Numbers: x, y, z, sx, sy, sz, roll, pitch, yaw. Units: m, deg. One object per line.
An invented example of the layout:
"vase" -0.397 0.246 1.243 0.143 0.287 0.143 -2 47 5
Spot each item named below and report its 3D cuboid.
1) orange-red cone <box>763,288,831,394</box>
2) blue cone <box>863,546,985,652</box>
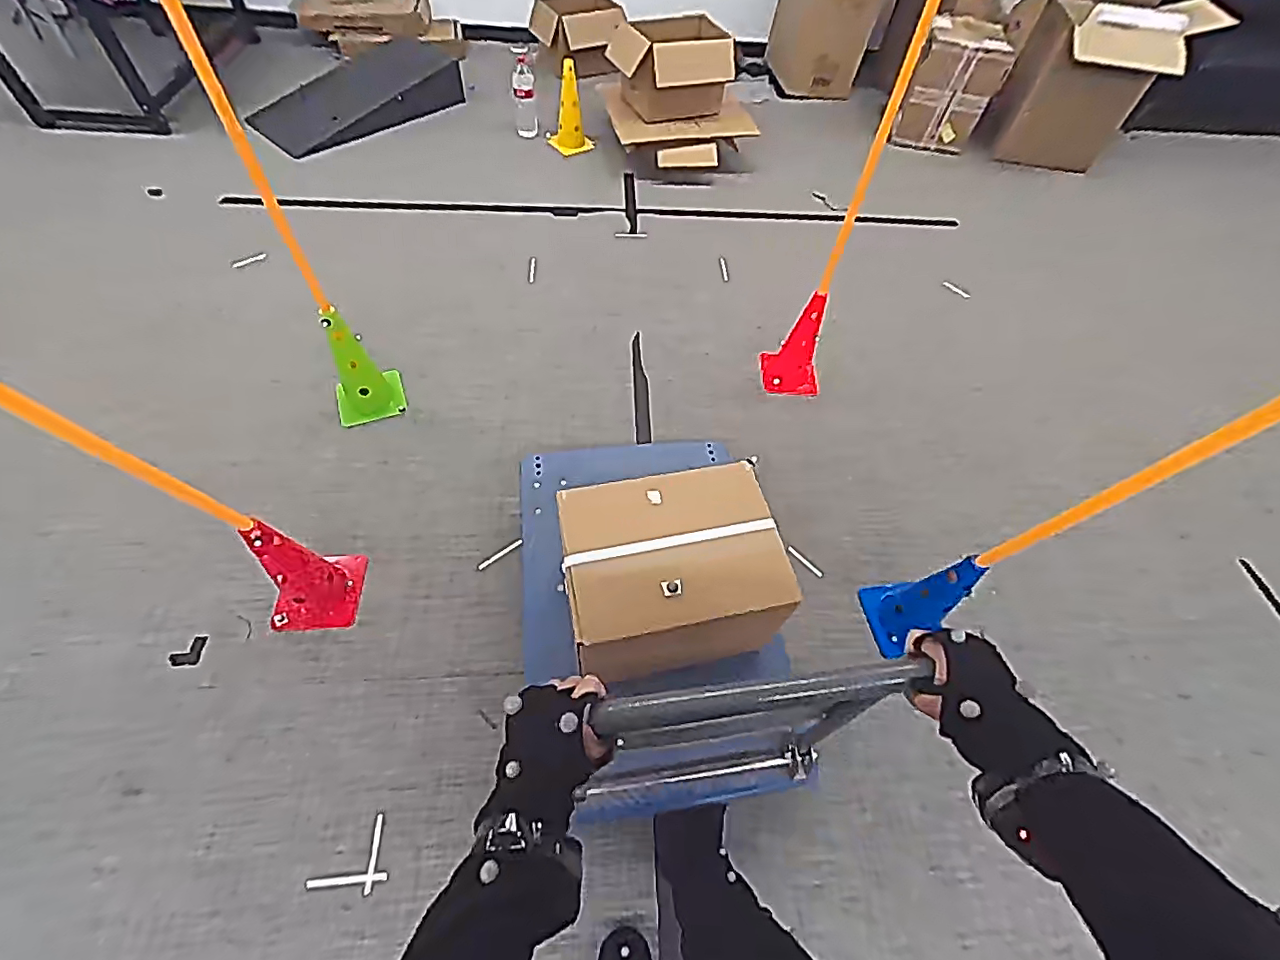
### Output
"orange-red cone" 0.558 -0.483 1.808 0.199 0.360 0.198 6 57 -2
"blue cone" 0.730 0.275 1.334 0.193 0.380 0.192 -3 56 -8
